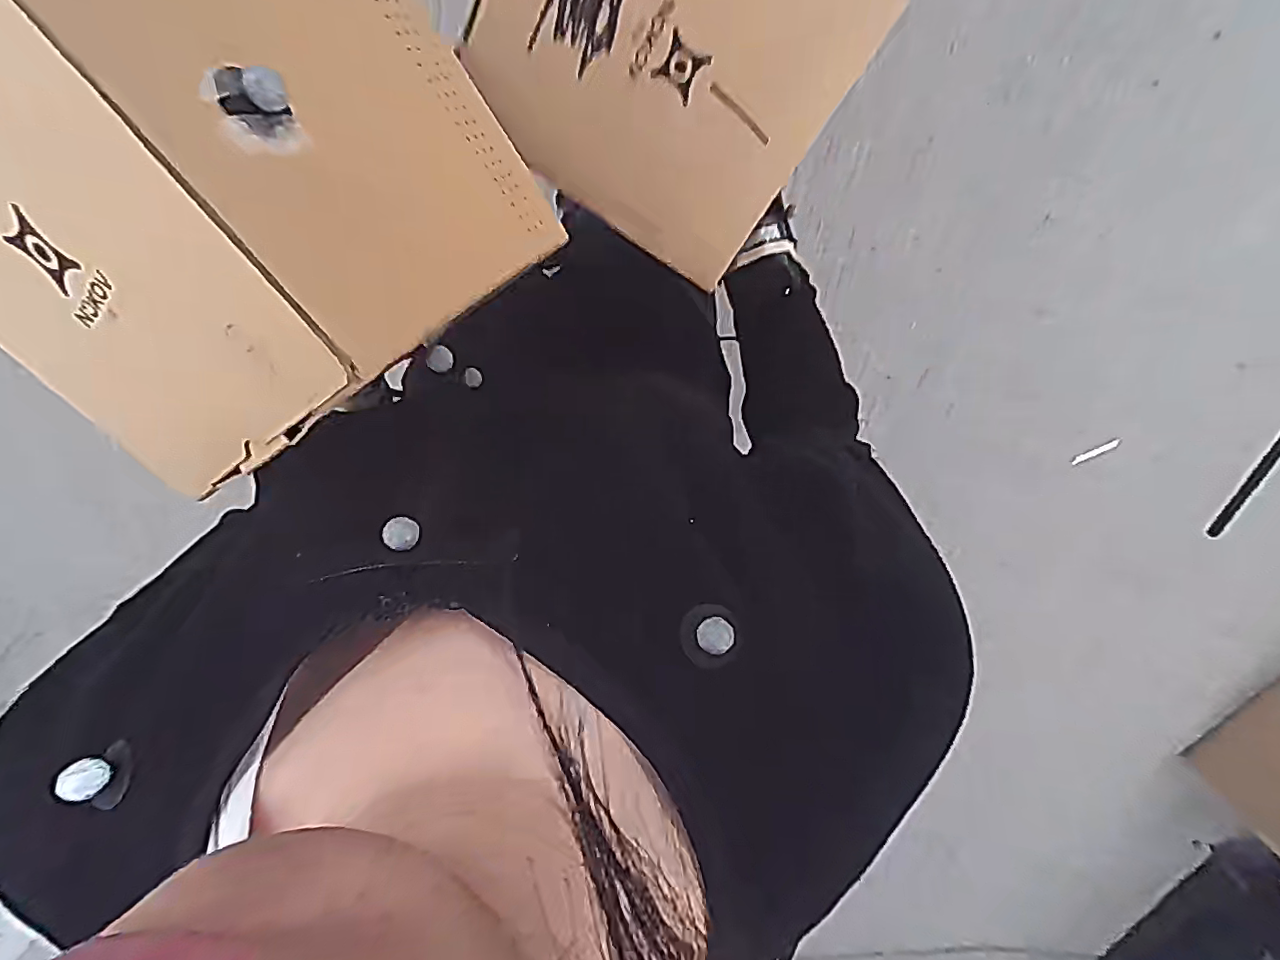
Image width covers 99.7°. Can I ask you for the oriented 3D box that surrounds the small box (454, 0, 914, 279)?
[{"bbox_3d":[0.015,-0.259,0.334,0.179,0.176,0.168,29,118,-20],"label":"small box"}]

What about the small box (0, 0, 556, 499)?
[{"bbox_3d":[-0.170,-0.124,0.248,0.168,0.176,0.179,-20,118,34],"label":"small box"}]
